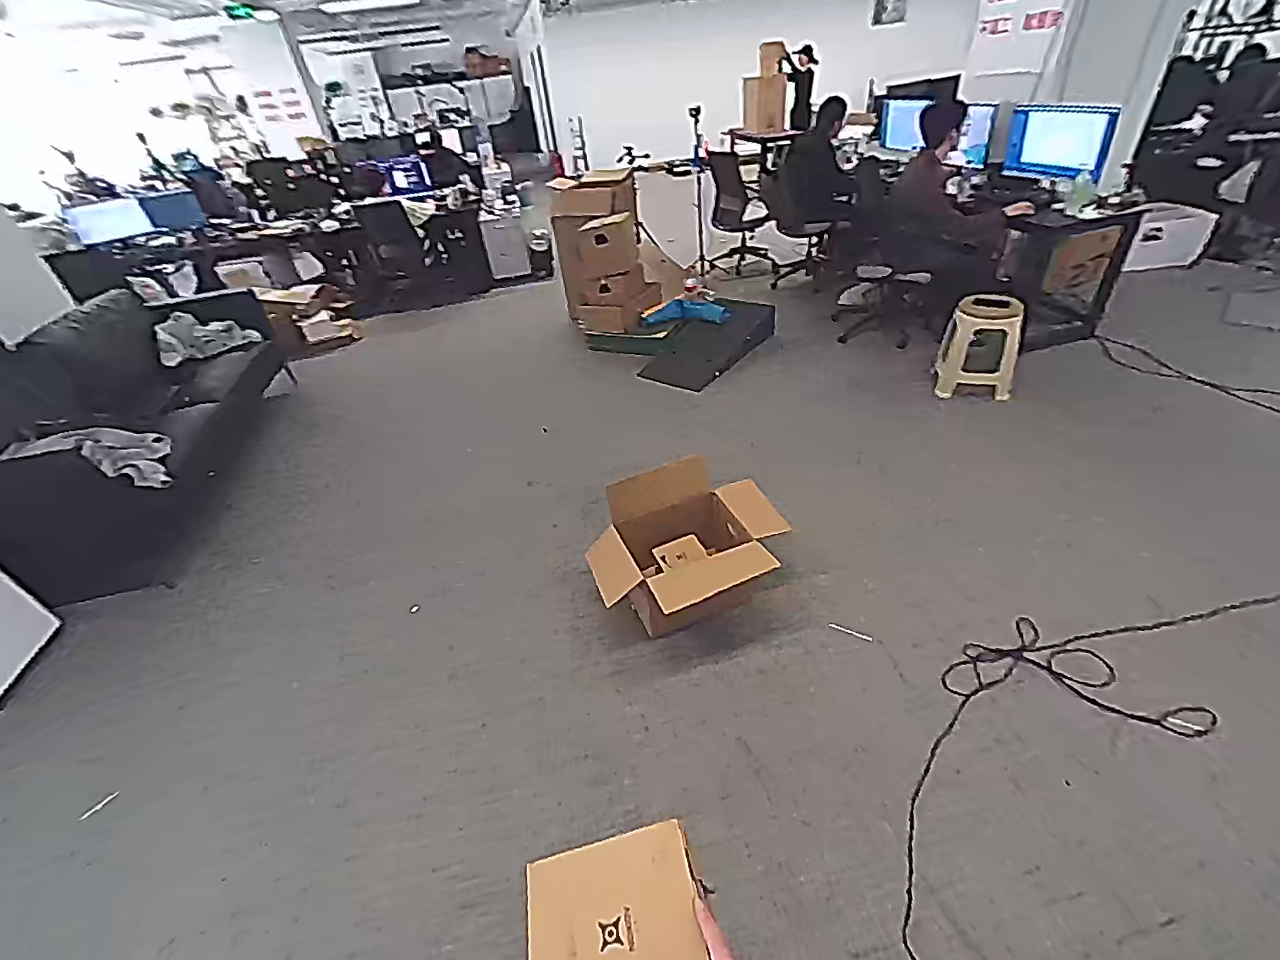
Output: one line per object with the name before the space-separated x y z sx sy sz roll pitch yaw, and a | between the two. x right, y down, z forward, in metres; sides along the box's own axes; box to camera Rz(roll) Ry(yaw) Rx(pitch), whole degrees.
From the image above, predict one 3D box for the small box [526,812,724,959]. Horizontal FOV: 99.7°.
small box | -0.007 0.487 0.563 0.179 0.176 0.168 -16 33 1
